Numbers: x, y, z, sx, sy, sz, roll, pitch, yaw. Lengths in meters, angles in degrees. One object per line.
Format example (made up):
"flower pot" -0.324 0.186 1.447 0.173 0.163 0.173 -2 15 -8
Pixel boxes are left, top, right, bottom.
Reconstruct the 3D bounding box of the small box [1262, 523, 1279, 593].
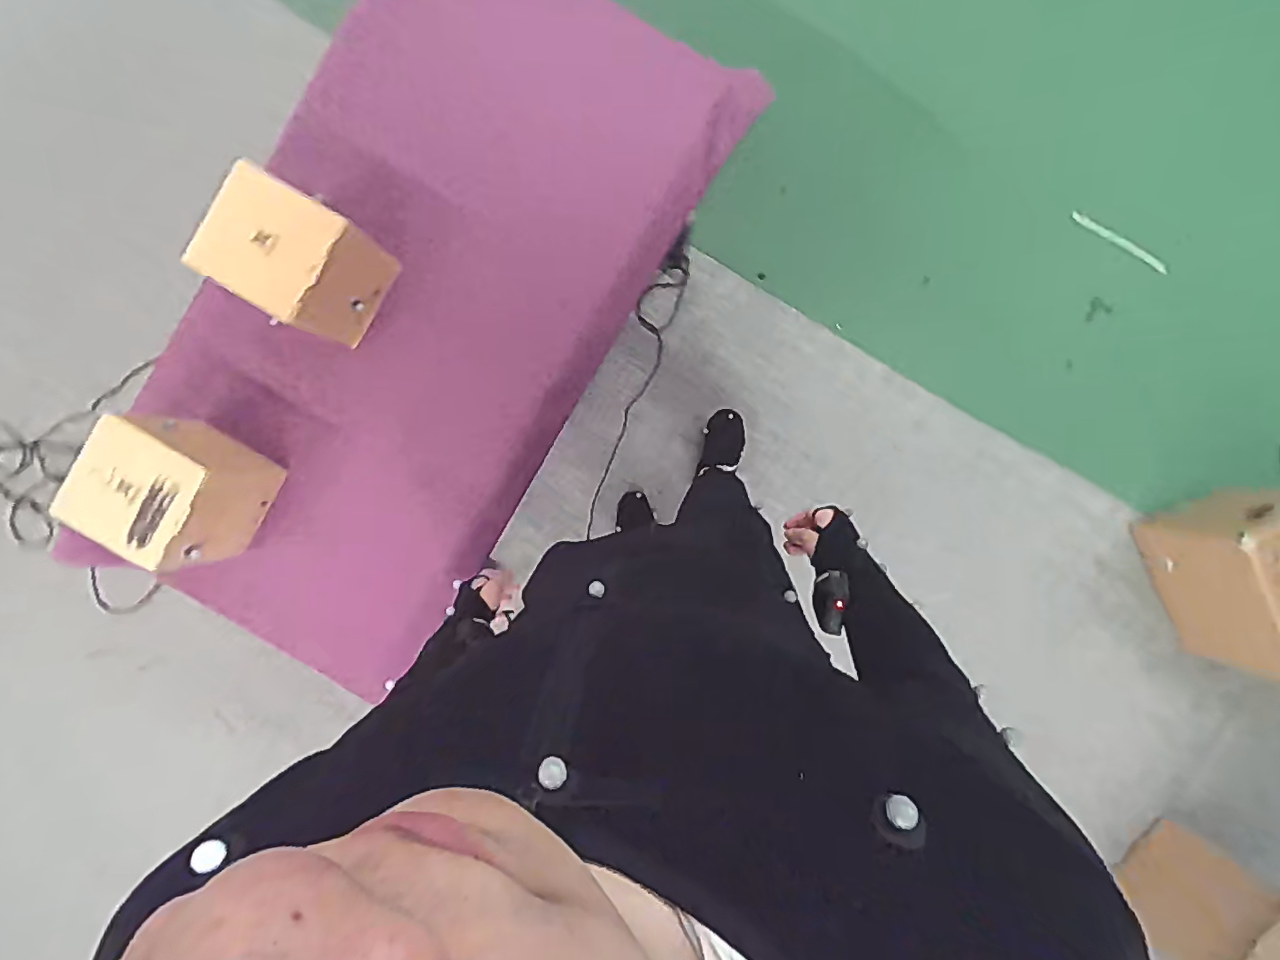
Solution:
"small box" 1.563 0.173 1.203 0.179 0.176 0.168 -20 91 1

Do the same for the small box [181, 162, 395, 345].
"small box" -0.518 -0.327 0.822 0.179 0.176 0.168 30 91 -1
